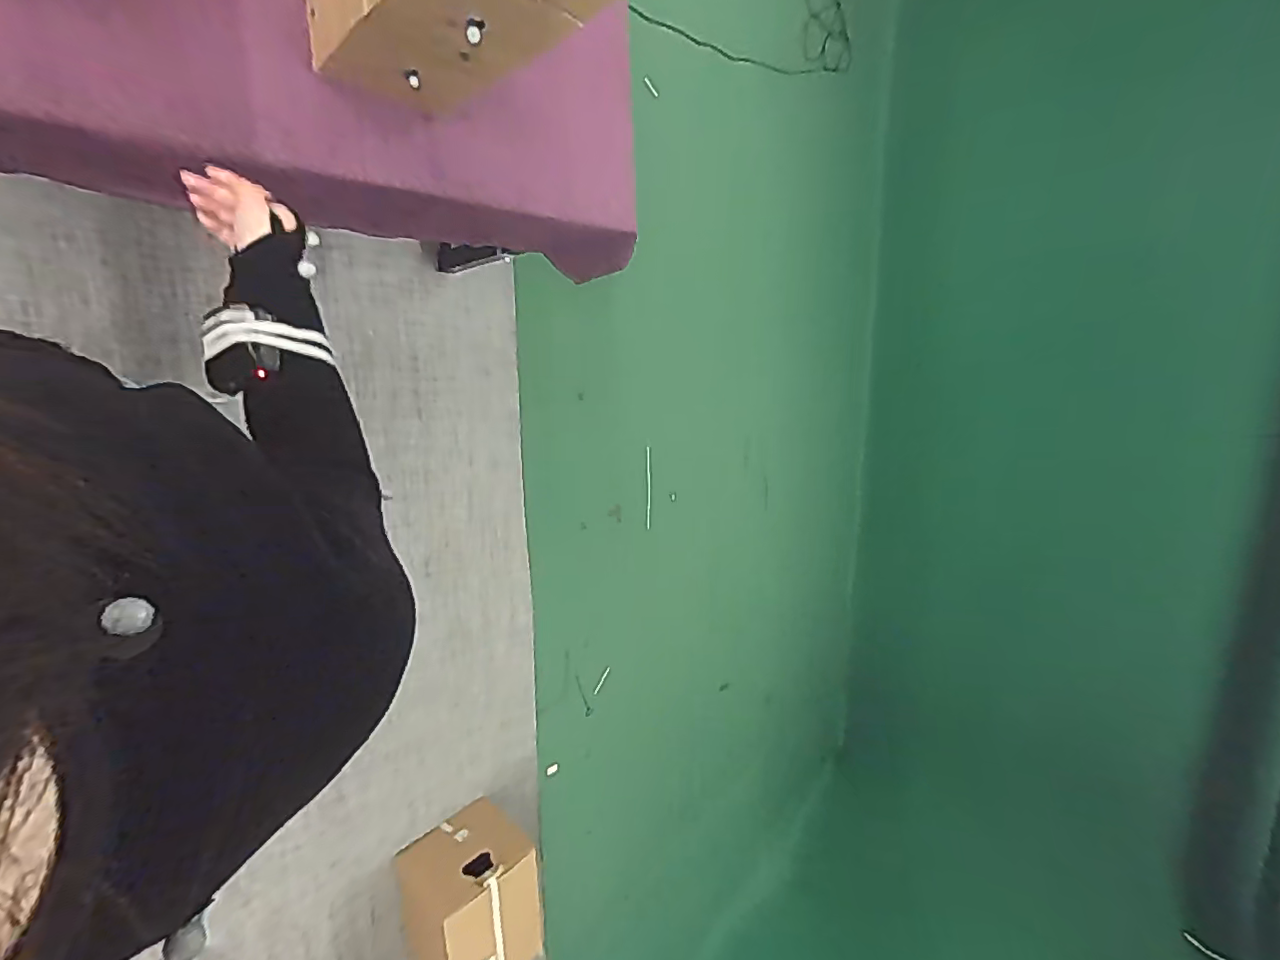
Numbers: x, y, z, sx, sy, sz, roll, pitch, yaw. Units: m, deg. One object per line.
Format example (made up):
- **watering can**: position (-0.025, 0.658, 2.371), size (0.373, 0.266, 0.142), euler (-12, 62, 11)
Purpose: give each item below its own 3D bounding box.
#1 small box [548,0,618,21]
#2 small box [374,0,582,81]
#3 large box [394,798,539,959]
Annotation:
- **small box**: position (-0.054, -0.550, 0.457), size (0.168, 0.176, 0.179), euler (-9, 103, -47)
- **small box**: position (-0.175, -0.570, 0.569), size (0.168, 0.176, 0.179), euler (-7, 102, -47)
- **large box**: position (-0.550, 1.344, 1.729), size (0.320, 0.320, 0.408), euler (-14, 108, -47)
